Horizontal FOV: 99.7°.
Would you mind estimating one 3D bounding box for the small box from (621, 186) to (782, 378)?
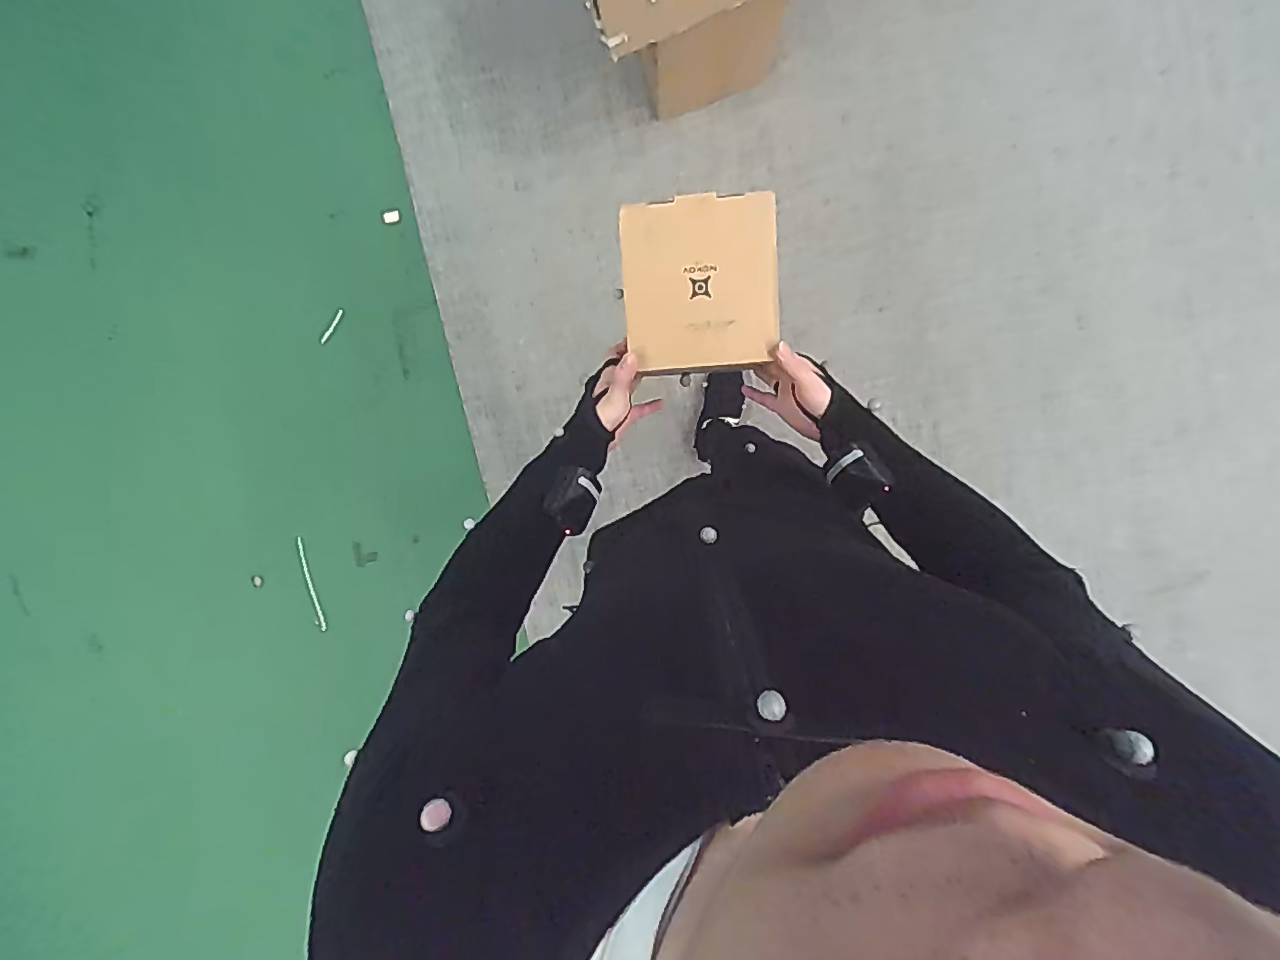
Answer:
[{"bbox_3d":[0.068,-0.218,0.639,0.168,0.176,0.179,-3,98,4],"label":"small box"}]
